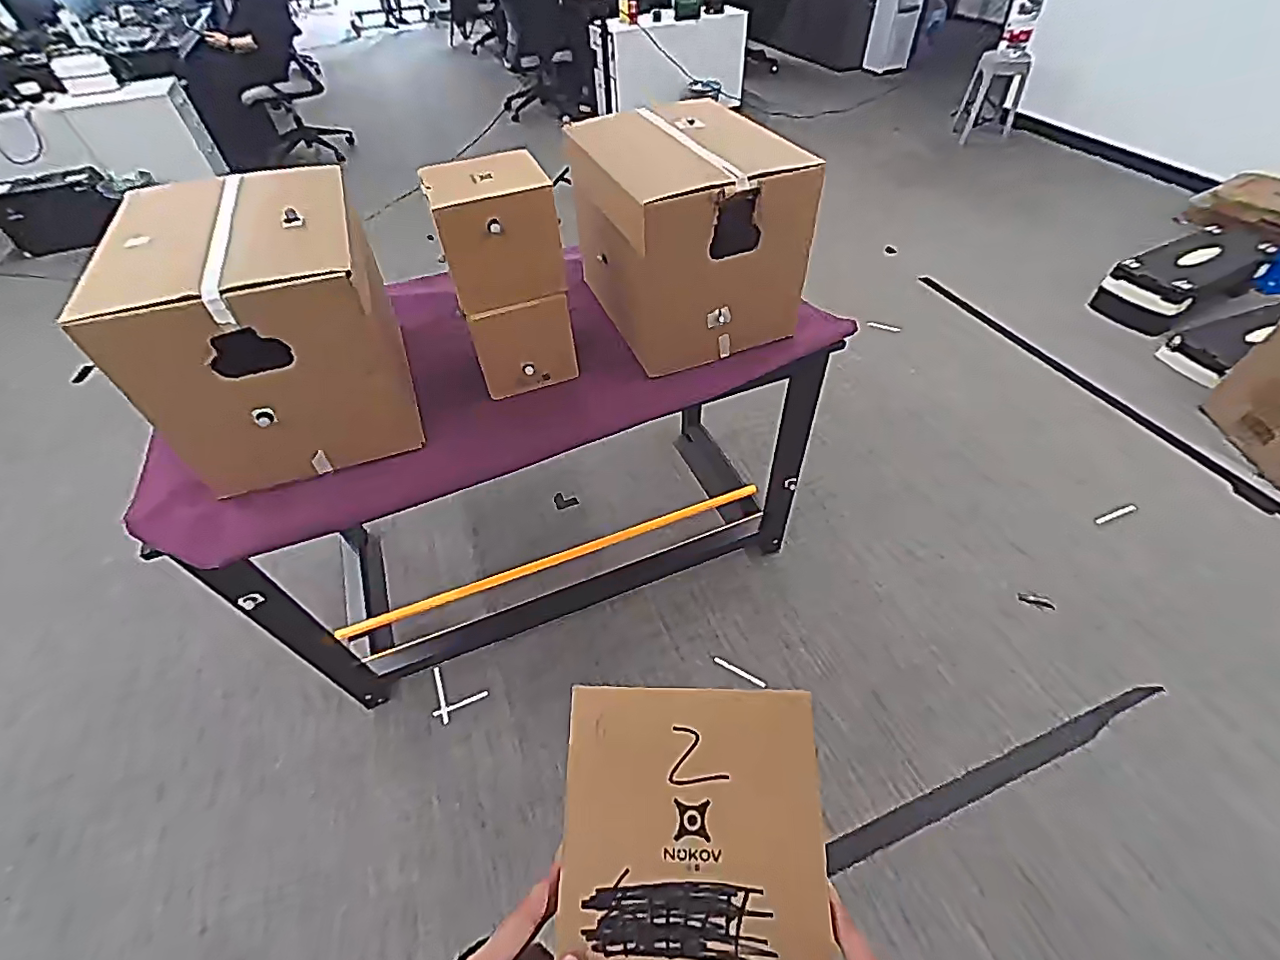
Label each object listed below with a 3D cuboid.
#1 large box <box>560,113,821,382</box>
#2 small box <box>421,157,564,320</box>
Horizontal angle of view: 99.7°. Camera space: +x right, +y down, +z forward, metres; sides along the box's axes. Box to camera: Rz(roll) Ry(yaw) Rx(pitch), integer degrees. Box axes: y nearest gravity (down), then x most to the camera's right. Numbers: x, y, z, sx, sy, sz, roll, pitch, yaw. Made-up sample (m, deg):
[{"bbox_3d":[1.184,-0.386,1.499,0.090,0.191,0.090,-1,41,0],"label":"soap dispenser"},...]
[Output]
[{"bbox_3d":[0.076,-0.452,1.033,0.320,0.320,0.408,-19,49,-13],"label":"large box"},{"bbox_3d":[-0.227,-0.384,0.865,0.179,0.176,0.168,-19,50,-11],"label":"small box"}]
